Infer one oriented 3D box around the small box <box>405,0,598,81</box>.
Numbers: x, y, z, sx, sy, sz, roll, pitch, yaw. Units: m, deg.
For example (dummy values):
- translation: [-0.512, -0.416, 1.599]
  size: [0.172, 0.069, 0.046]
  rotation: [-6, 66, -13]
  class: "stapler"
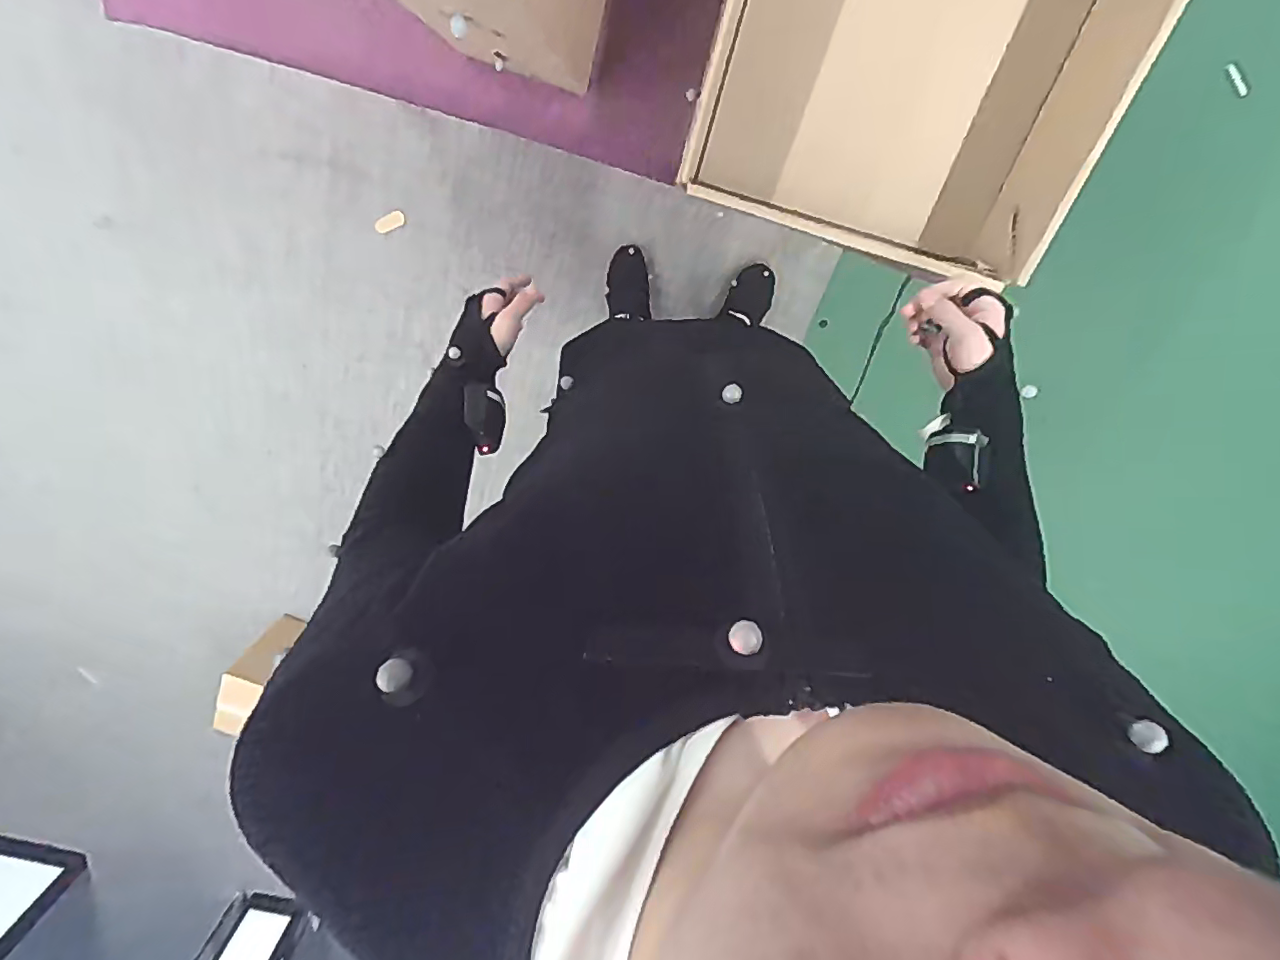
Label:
- translation: [-0.131, -0.561, 0.573]
  size: [0.168, 0.176, 0.179]
  rotation: [16, 116, -6]
  class: "small box"
